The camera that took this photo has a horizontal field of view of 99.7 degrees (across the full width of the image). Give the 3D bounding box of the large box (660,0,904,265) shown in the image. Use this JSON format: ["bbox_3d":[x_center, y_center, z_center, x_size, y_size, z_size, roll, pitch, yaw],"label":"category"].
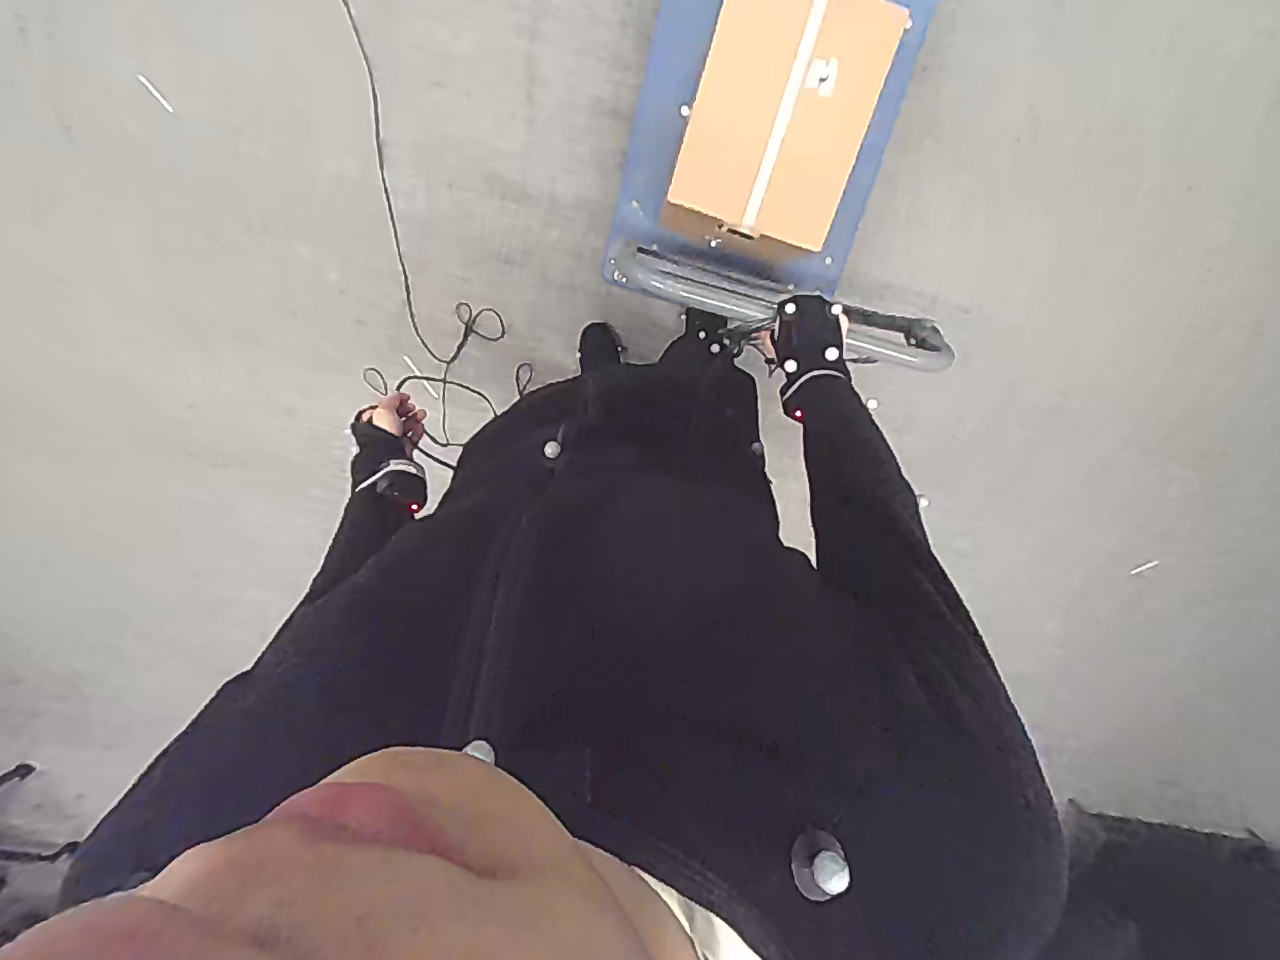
[{"bbox_3d":[0.246,-0.695,1.096,0.320,0.320,0.408,16,106,-8],"label":"large box"}]
